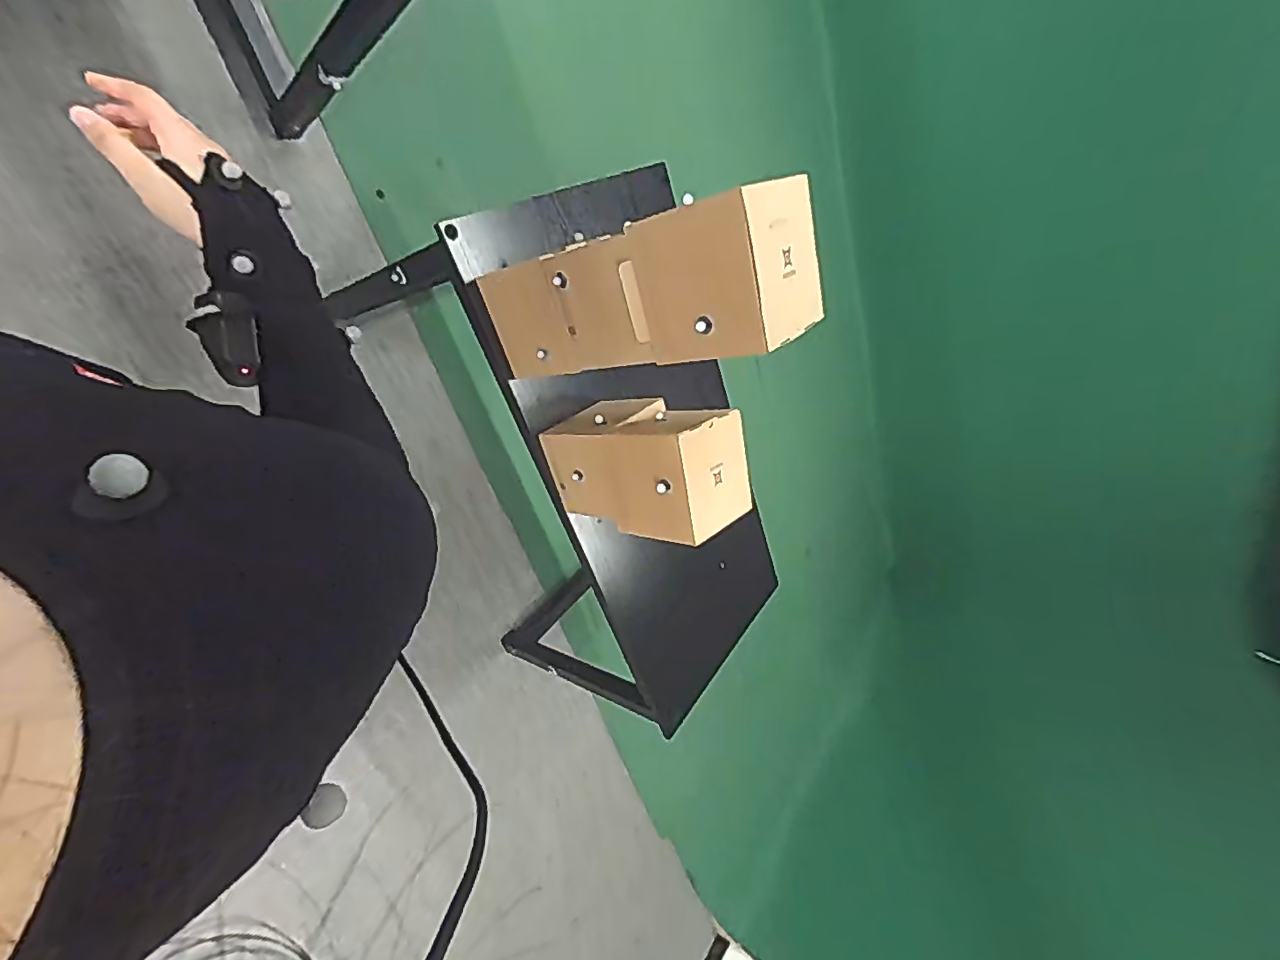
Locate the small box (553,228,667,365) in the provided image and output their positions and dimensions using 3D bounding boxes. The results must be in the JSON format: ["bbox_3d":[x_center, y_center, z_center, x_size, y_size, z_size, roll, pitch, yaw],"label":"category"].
[{"bbox_3d":[-0.005,-0.274,0.789,0.179,0.176,0.168,-37,121,-40],"label":"small box"}]

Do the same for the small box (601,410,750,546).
[{"bbox_3d":[0.058,-0.014,0.888,0.168,0.176,0.179,-26,112,-42],"label":"small box"}]

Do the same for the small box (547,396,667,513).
[{"bbox_3d":[-0.052,-0.047,1.005,0.179,0.176,0.168,-36,120,-39],"label":"small box"}]

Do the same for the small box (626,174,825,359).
[{"bbox_3d":[0.109,-0.257,0.674,0.168,0.176,0.179,-37,120,-41],"label":"small box"}]
